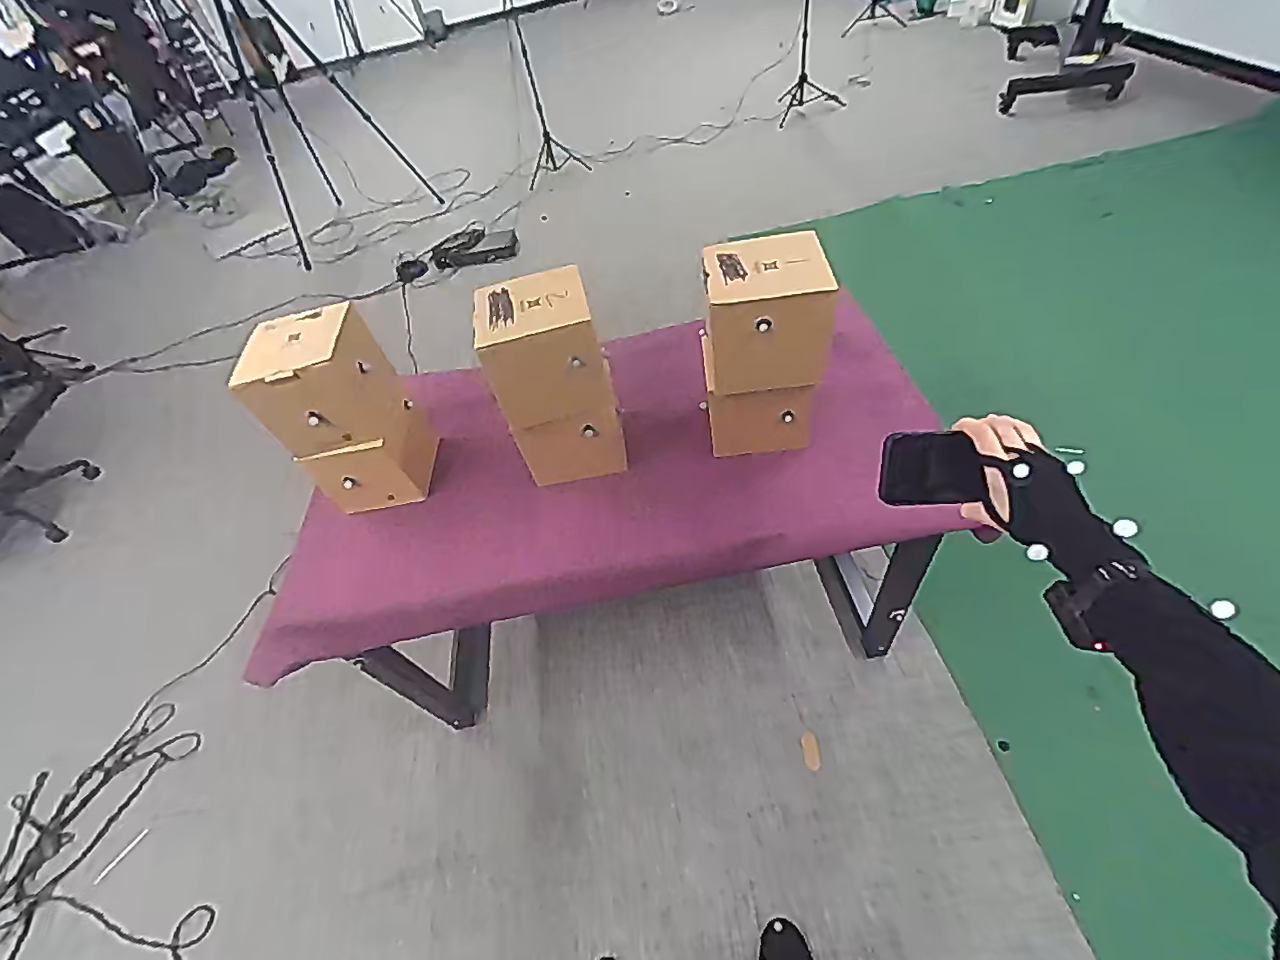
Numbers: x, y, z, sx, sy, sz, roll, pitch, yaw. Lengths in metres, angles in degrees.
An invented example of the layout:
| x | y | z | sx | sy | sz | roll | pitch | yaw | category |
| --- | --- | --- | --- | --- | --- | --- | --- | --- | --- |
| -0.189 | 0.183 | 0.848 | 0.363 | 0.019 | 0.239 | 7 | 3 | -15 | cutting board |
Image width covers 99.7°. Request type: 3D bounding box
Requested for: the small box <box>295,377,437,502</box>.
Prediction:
| x | y | z | sx | sy | sz | roll | pitch | yaw | category |
| --- | --- | --- | --- | --- | --- | --- | --- | --- | --- |
| -0.517 | -0.070 | 1.051 | 0.168 | 0.176 | 0.179 | -9 | 50 | 4 | small box |

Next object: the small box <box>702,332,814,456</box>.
| x | y | z | sx | sy | sz | roll | pitch | yaw | category |
| --- | --- | --- | --- | --- | --- | --- | --- | --- | --- |
| 0.206 | -0.160 | 0.980 | 0.179 | 0.176 | 0.168 | -5 | 50 | 9 | small box |

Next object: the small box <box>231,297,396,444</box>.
| x | y | z | sx | sy | sz | roll | pitch | yaw | category |
| --- | --- | --- | --- | --- | --- | --- | --- | --- | --- |
| -0.543 | -0.179 | 0.931 | 0.168 | 0.176 | 0.179 | -12 | 51 | 0 | small box |

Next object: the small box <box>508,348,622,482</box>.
| x | y | z | sx | sy | sz | roll | pitch | yaw | category |
| --- | --- | --- | --- | --- | --- | --- | --- | --- | --- |
| -0.131 | -0.118 | 1.011 | 0.179 | 0.176 | 0.168 | -9 | 50 | 4 | small box |

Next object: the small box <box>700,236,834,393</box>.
| x | y | z | sx | sy | sz | roll | pitch | yaw | category |
| --- | --- | --- | --- | --- | --- | --- | --- | --- | --- |
| 0.190 | -0.252 | 0.845 | 0.179 | 0.176 | 0.168 | -4 | 50 | 7 | small box |
